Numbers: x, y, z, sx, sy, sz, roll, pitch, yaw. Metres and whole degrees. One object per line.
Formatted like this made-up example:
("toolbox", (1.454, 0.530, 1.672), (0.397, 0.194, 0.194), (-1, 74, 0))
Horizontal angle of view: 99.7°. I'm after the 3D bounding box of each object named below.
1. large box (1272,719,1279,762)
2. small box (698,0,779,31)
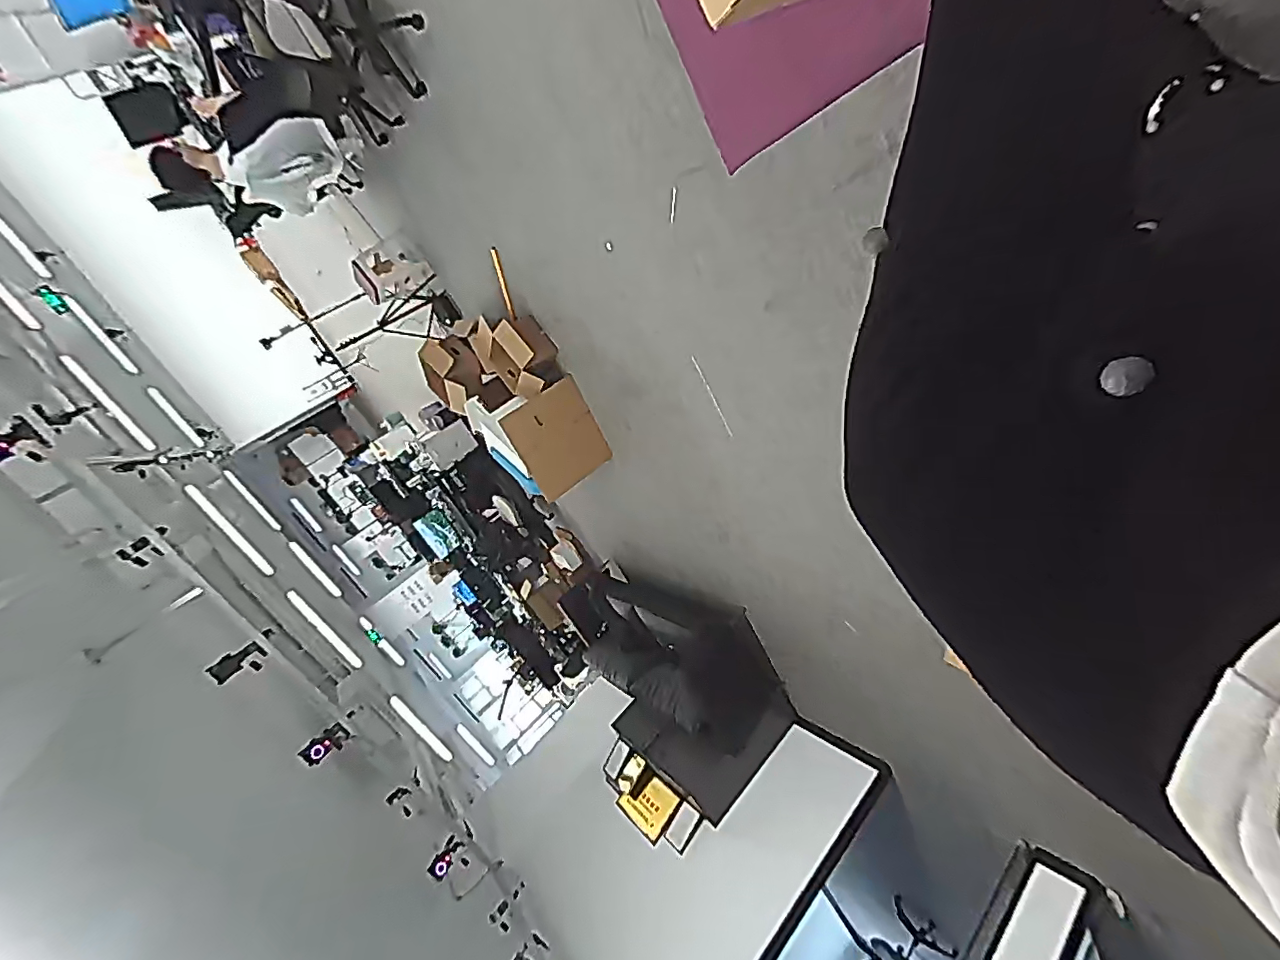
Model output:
("large box", (1.902, 0.663, 1.283), (0.320, 0.320, 0.408), (46, 155, 7))
("small box", (0.132, -0.574, 0.492), (0.168, 0.176, 0.179), (3, 128, 58))
